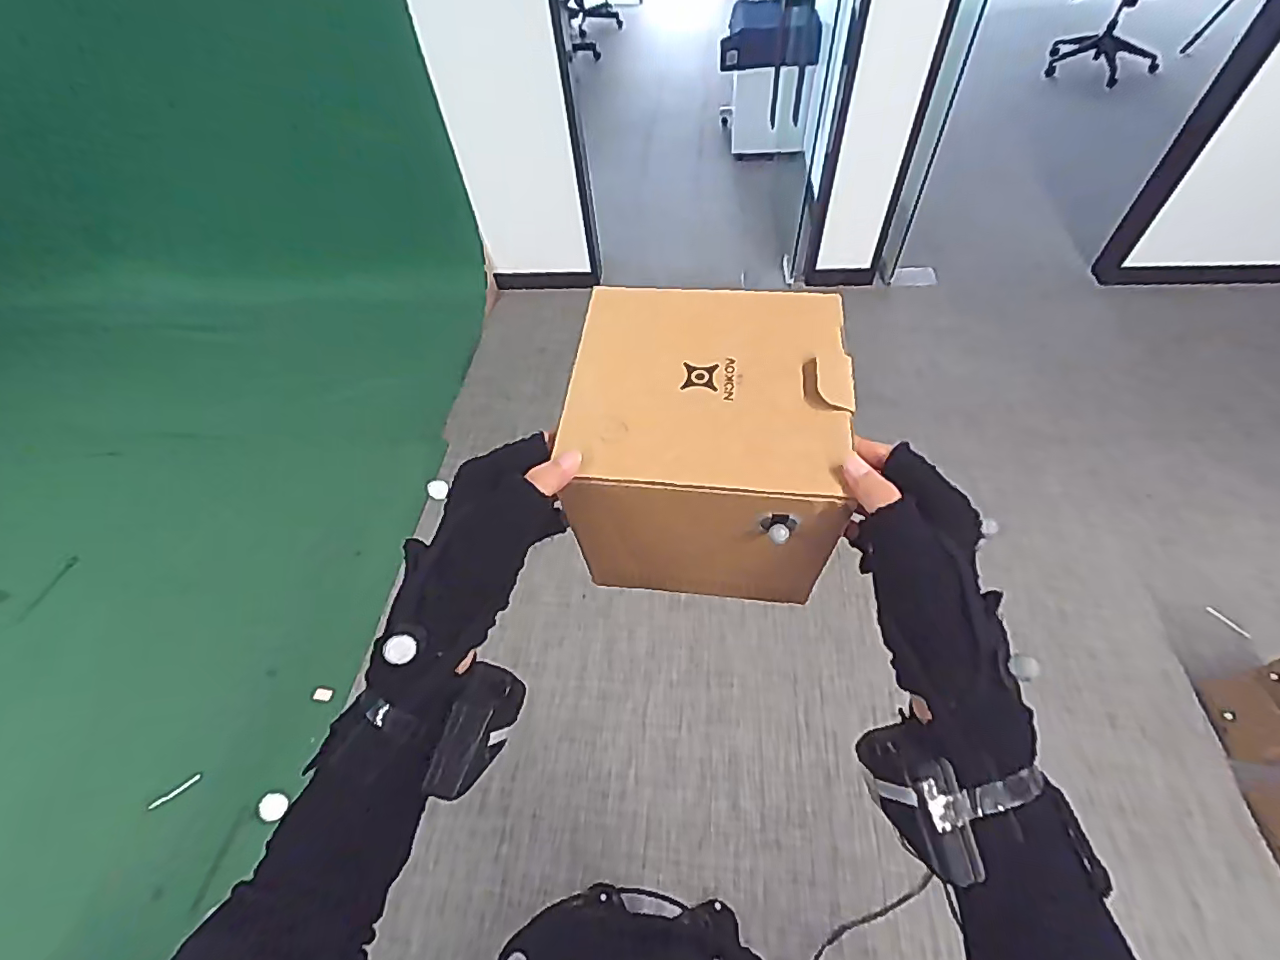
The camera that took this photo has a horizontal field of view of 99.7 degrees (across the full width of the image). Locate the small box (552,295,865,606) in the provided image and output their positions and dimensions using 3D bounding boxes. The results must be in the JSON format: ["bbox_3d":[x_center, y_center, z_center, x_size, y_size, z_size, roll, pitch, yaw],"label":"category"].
[{"bbox_3d":[0.049,-0.016,0.405,0.179,0.176,0.168,4,58,6],"label":"small box"}]

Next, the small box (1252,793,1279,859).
[{"bbox_3d":[1.399,0.708,1.058,0.179,0.176,0.168,1,53,5],"label":"small box"}]

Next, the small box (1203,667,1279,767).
[{"bbox_3d":[1.431,0.528,1.191,0.179,0.176,0.168,2,53,7],"label":"small box"}]
